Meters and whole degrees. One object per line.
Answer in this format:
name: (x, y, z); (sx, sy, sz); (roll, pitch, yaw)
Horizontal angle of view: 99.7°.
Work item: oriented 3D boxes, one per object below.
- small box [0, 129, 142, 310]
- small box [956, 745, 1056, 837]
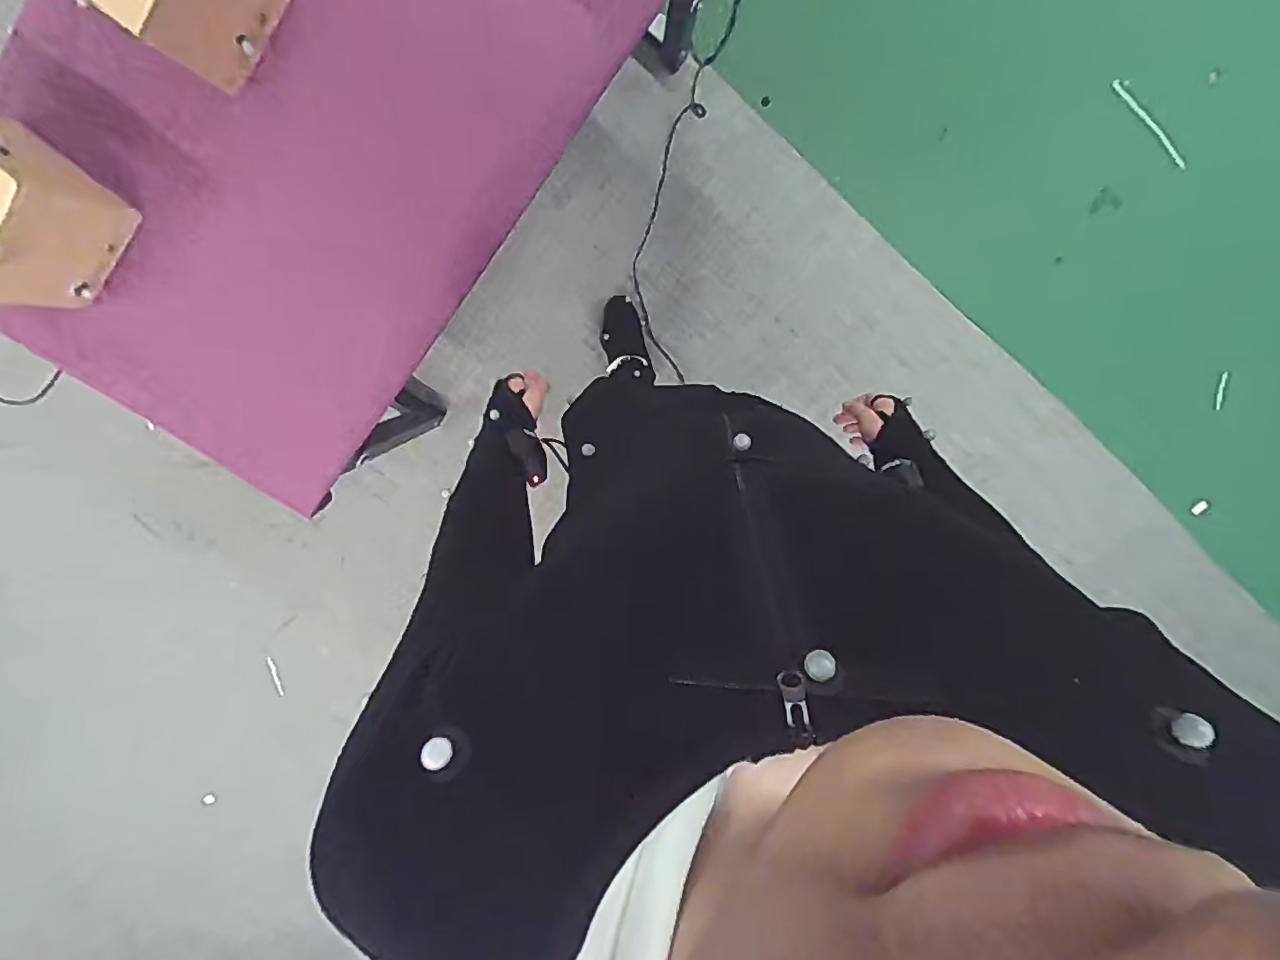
small box: (-0.806, -0.334, 0.684); (0.179, 0.176, 0.168); (39, 98, -11)
small box: (1.209, 1.027, 1.799); (0.179, 0.176, 0.168); (36, 100, -9)
